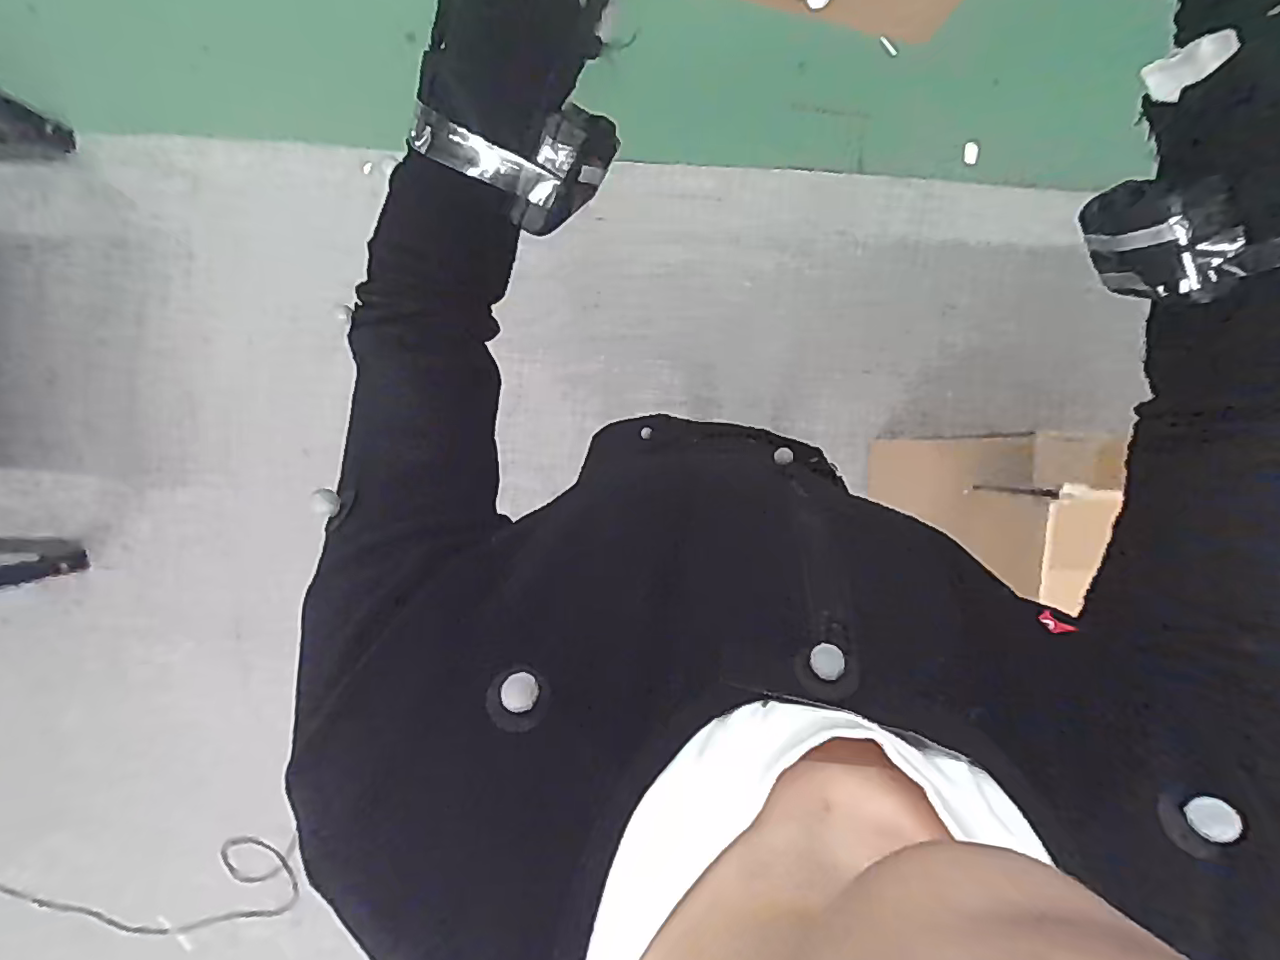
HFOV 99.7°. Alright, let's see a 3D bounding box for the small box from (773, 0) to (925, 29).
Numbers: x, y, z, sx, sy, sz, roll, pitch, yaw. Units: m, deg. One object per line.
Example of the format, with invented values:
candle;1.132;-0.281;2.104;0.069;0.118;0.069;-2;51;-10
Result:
small box;0.121;-0.381;0.272;0.179;0.176;0.168;12;98;-4
